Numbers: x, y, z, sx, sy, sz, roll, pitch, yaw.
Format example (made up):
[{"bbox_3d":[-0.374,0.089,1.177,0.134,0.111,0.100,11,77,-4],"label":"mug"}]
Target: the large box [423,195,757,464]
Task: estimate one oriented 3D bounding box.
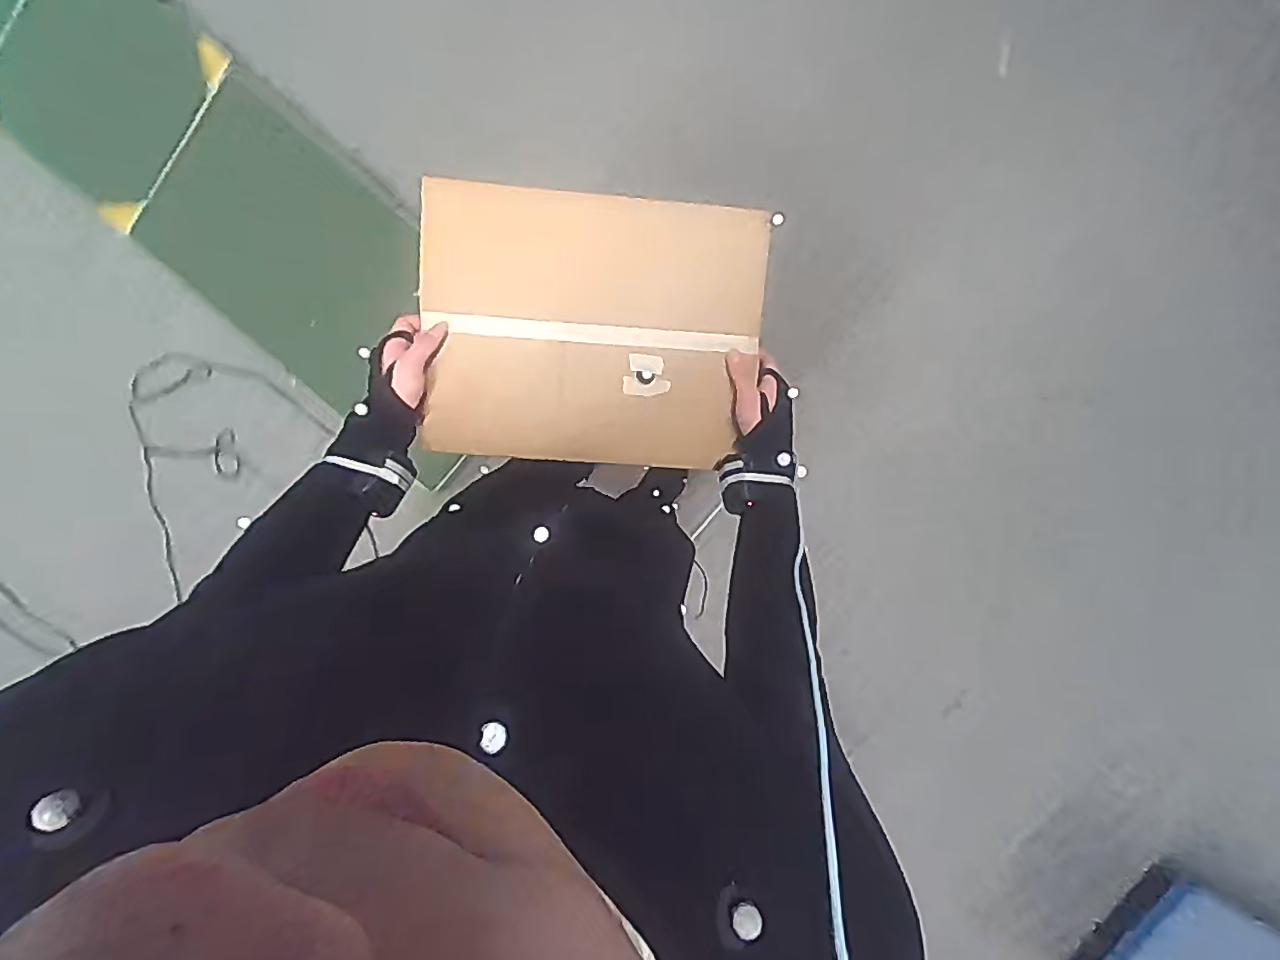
[{"bbox_3d":[-0.072,-0.198,0.810,0.408,0.320,0.320,2,100,-4],"label":"large box"}]
